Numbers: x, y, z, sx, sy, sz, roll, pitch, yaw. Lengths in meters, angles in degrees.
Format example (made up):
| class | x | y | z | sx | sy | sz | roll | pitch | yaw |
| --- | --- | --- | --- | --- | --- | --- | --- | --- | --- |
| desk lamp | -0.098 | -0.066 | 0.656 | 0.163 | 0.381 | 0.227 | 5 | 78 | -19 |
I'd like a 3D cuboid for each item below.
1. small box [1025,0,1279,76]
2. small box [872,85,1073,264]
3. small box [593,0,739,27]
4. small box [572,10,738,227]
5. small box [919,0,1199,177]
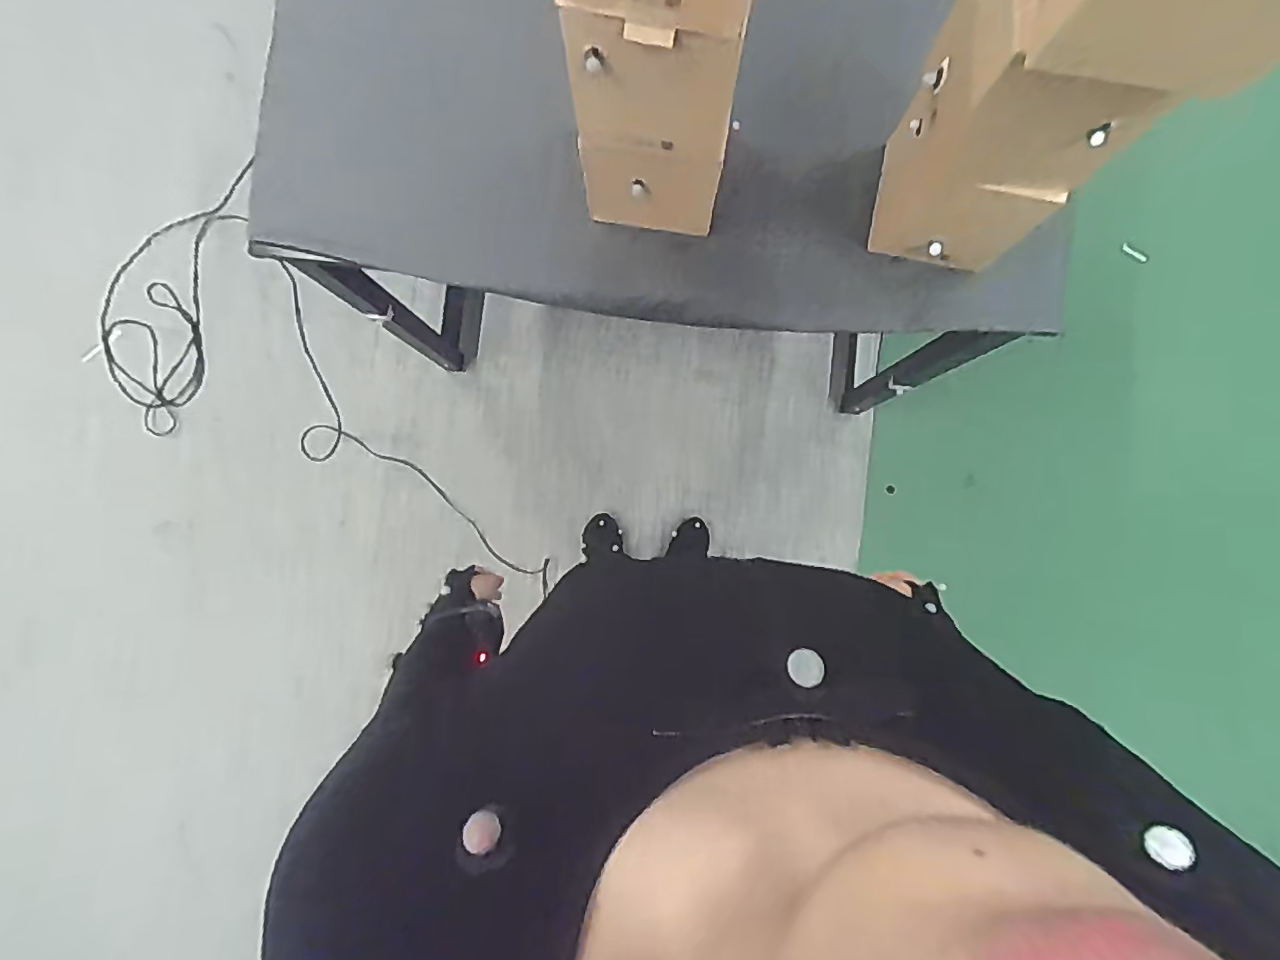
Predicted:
| class | x | y | z | sx | sy | sz | roll | pitch | yaw |
| --- | --- | --- | --- | --- | --- | --- | --- | --- | --- |
| small box | 0.414 | -0.423 | 0.370 | 0.179 | 0.176 | 0.168 | 9 | 83 | 2 |
| small box | 0.422 | -0.413 | 0.697 | 0.168 | 0.176 | 0.179 | 12 | 85 | 3 |
| small box | 0.017 | -0.489 | 0.386 | 0.168 | 0.176 | 0.179 | 11 | 85 | 1 |
| small box | 0.021 | -0.460 | 0.713 | 0.179 | 0.176 | 0.168 | 9 | 86 | 2 |
| small box | 0.407 | -0.430 | 0.537 | 0.179 | 0.176 | 0.168 | 4 | 83 | 3 |
